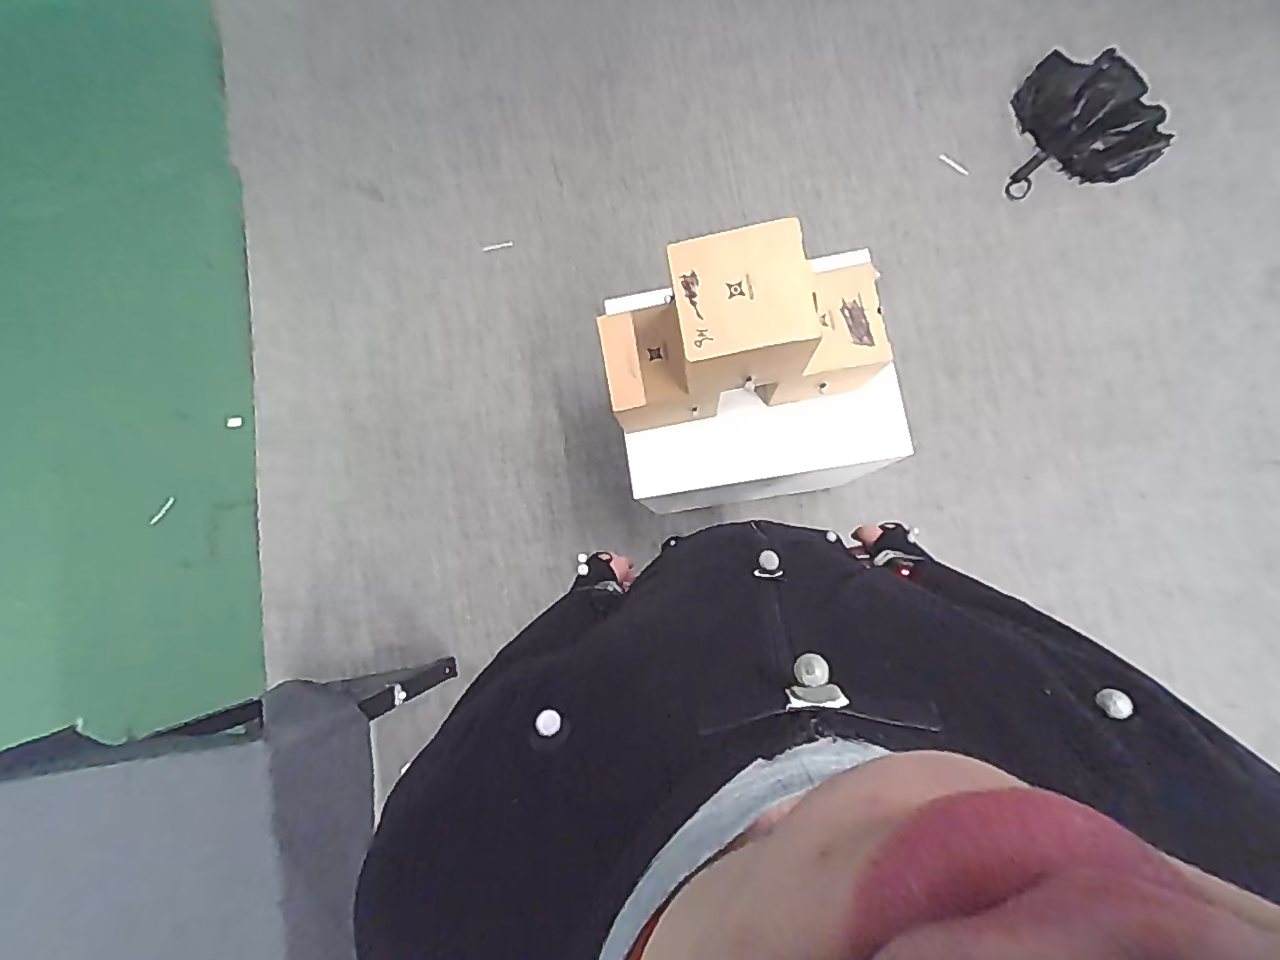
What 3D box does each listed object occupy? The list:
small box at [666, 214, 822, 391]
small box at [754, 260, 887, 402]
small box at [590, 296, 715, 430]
[{"bbox_3d":[0.134,-0.236,0.757,0.179,0.176,0.168,-9,82,3],"label":"small box"},{"bbox_3d":[0.284,-0.240,0.910,0.179,0.176,0.168,-10,83,4],"label":"small box"},{"bbox_3d":[0.023,-0.194,0.926,0.179,0.176,0.168,-11,81,3],"label":"small box"}]
